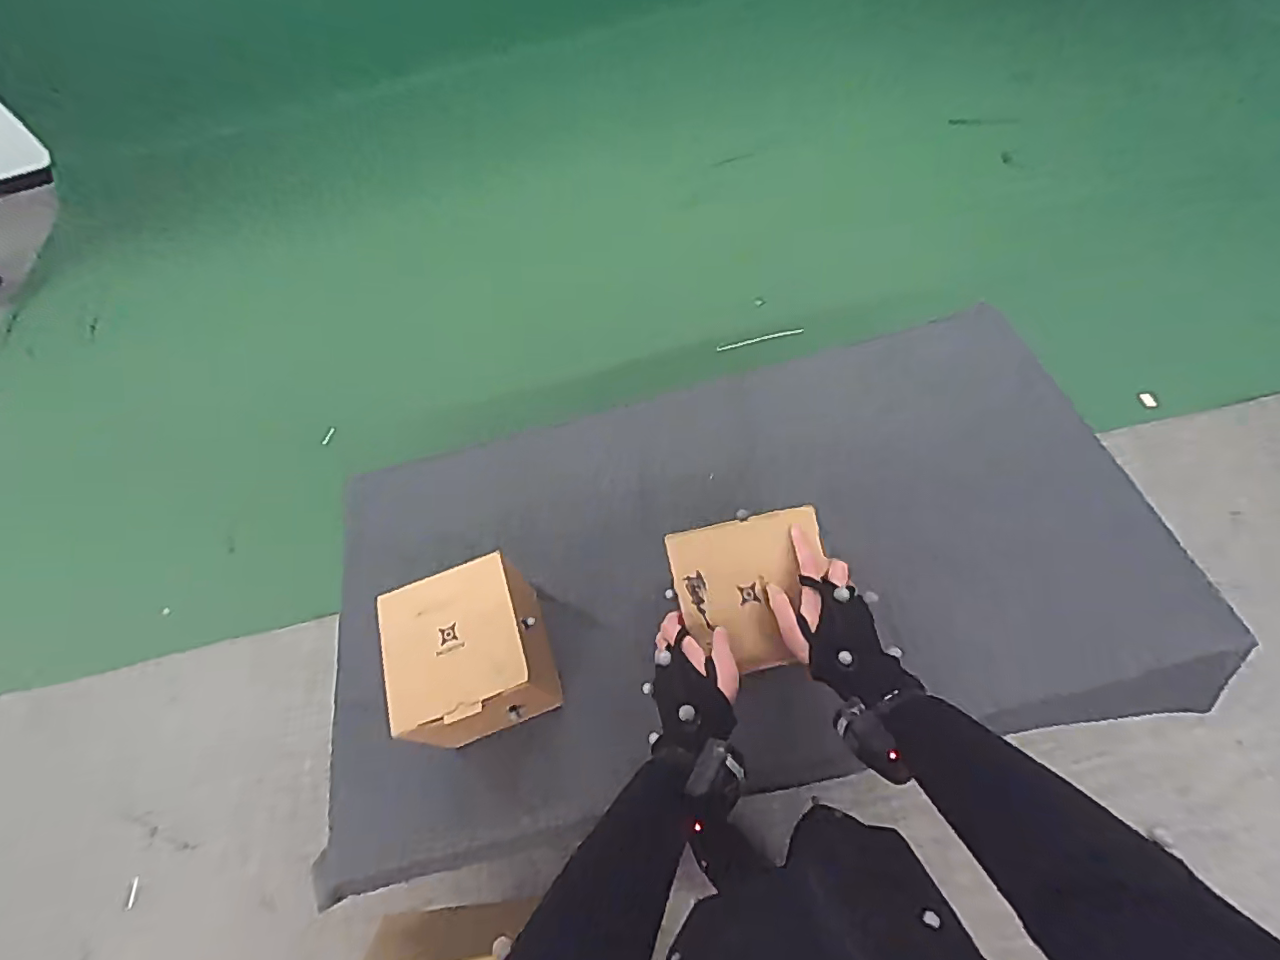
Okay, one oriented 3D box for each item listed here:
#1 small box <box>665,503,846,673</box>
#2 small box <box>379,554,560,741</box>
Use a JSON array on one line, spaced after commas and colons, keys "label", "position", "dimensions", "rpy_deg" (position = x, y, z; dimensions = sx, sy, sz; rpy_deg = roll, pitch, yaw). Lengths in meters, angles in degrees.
[{"label": "small box", "position": [0.133, 0.131, 0.695], "dimensions": [0.179, 0.176, 0.168], "rpy_deg": [-13, 82, 1]}, {"label": "small box", "position": [-0.219, 0.231, 0.721], "dimensions": [0.168, 0.176, 0.179], "rpy_deg": [-21, 59, -5]}]
